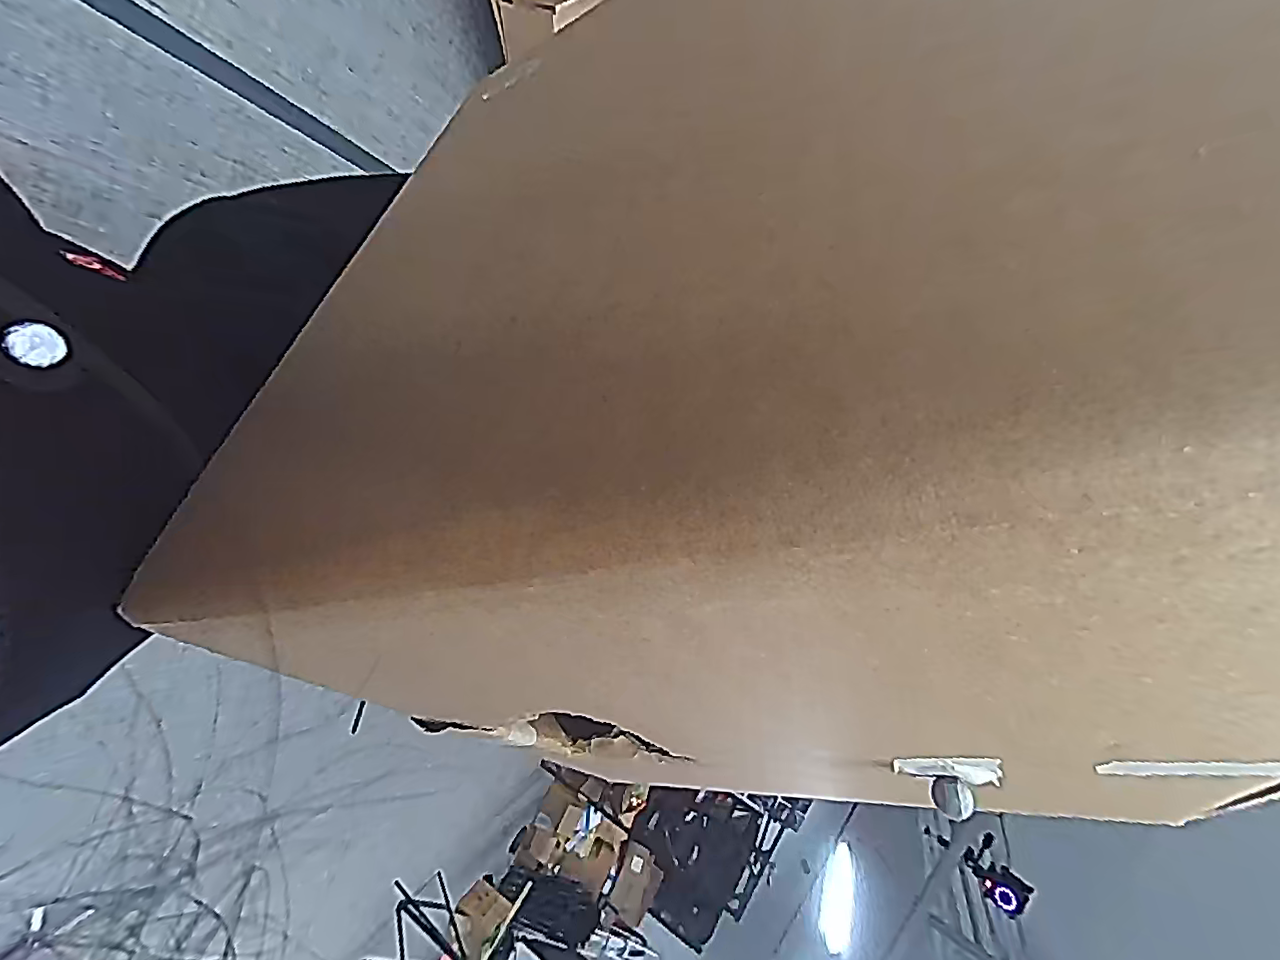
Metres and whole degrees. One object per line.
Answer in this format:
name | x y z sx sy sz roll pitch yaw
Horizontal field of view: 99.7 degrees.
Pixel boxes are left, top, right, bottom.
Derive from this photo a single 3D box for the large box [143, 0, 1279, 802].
large box | 0.062 -0.068 0.324 0.320 0.320 0.408 52 37 -45
